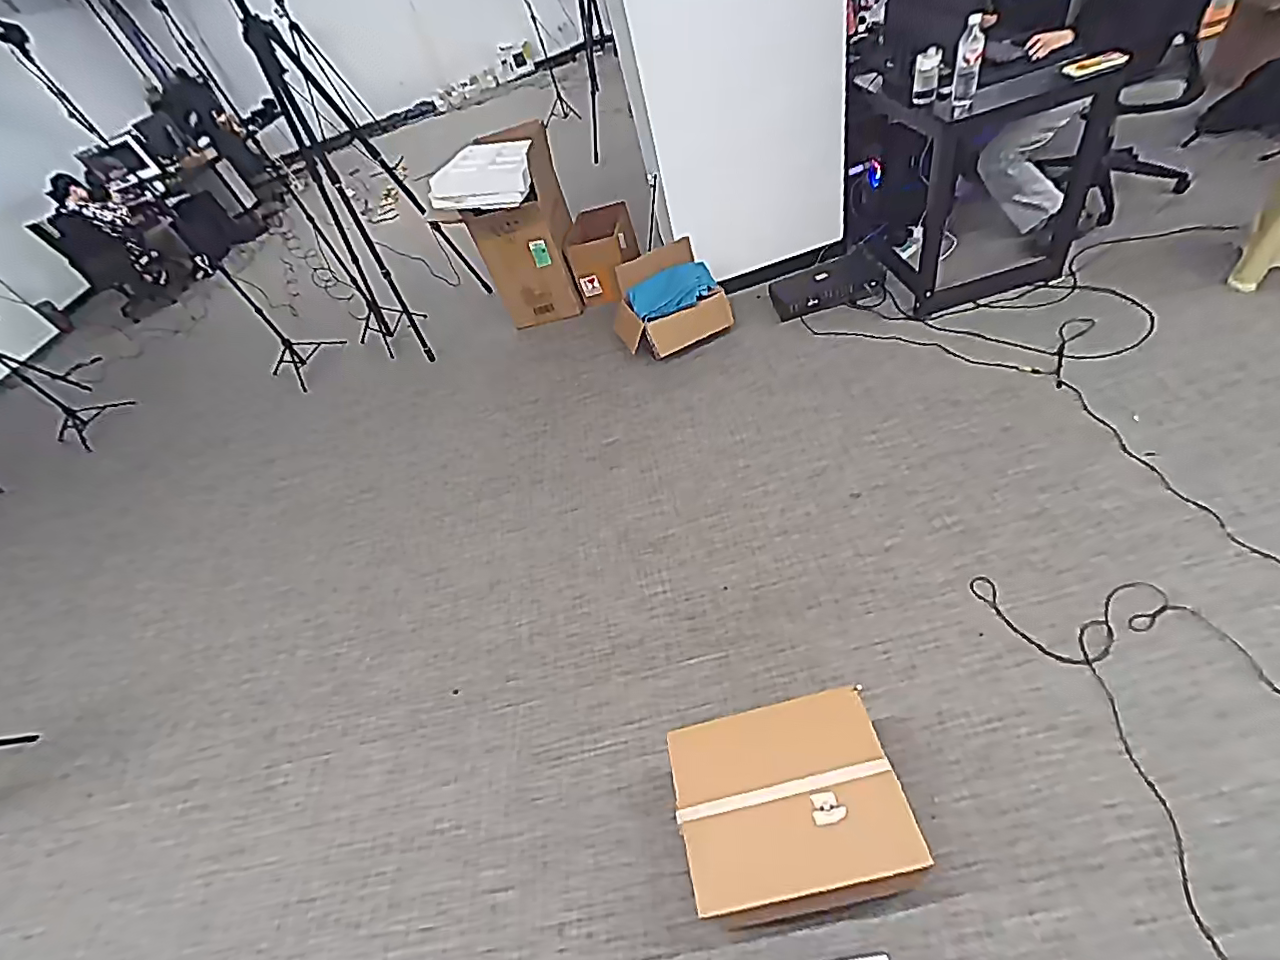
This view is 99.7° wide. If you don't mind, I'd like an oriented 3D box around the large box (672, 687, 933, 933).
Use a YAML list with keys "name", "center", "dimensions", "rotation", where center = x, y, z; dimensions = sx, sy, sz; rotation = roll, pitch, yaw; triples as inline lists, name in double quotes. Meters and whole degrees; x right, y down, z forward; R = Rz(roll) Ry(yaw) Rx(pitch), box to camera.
- name: "large box"
  center: [0.314, 0.686, 1.118]
  dimensions: [0.408, 0.320, 0.320]
  rotation: [-17, 45, 4]
